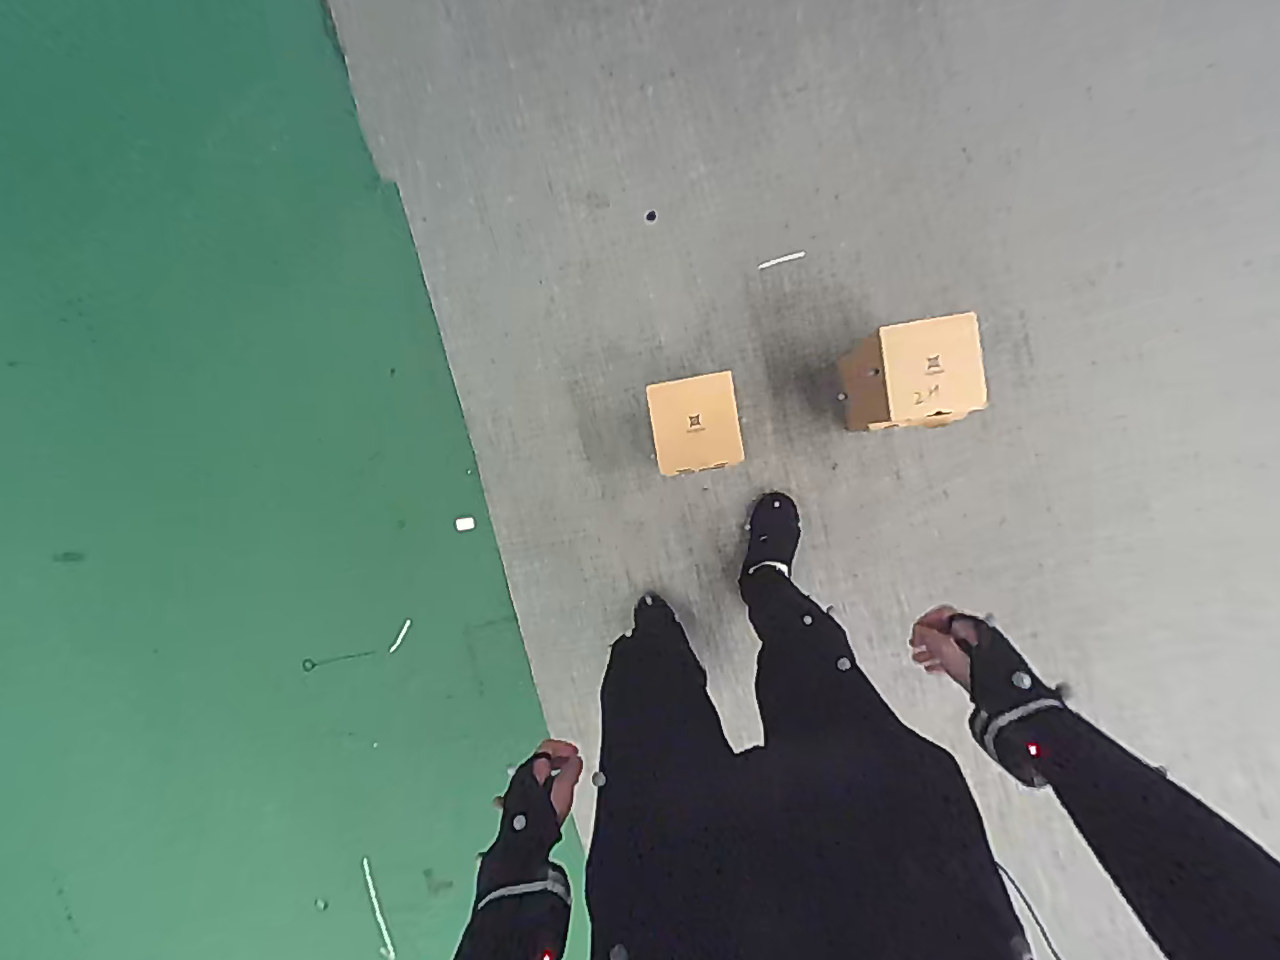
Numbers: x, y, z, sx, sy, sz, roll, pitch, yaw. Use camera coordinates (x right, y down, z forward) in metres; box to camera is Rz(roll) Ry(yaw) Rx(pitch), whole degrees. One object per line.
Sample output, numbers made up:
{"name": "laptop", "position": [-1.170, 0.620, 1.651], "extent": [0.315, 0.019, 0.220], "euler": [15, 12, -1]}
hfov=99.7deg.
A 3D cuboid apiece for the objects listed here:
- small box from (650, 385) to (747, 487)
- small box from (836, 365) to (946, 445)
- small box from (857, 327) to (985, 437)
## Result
{"name": "small box", "position": [0.118, -0.086, 1.111], "extent": [0.168, 0.176, 0.179], "euler": [-10, 93, 7]}
{"name": "small box", "position": [0.557, -0.181, 1.215], "extent": [0.168, 0.176, 0.179], "euler": [-12, 93, 7]}
{"name": "small box", "position": [0.535, -0.182, 1.052], "extent": [0.168, 0.176, 0.179], "euler": [-8, 92, 8]}
